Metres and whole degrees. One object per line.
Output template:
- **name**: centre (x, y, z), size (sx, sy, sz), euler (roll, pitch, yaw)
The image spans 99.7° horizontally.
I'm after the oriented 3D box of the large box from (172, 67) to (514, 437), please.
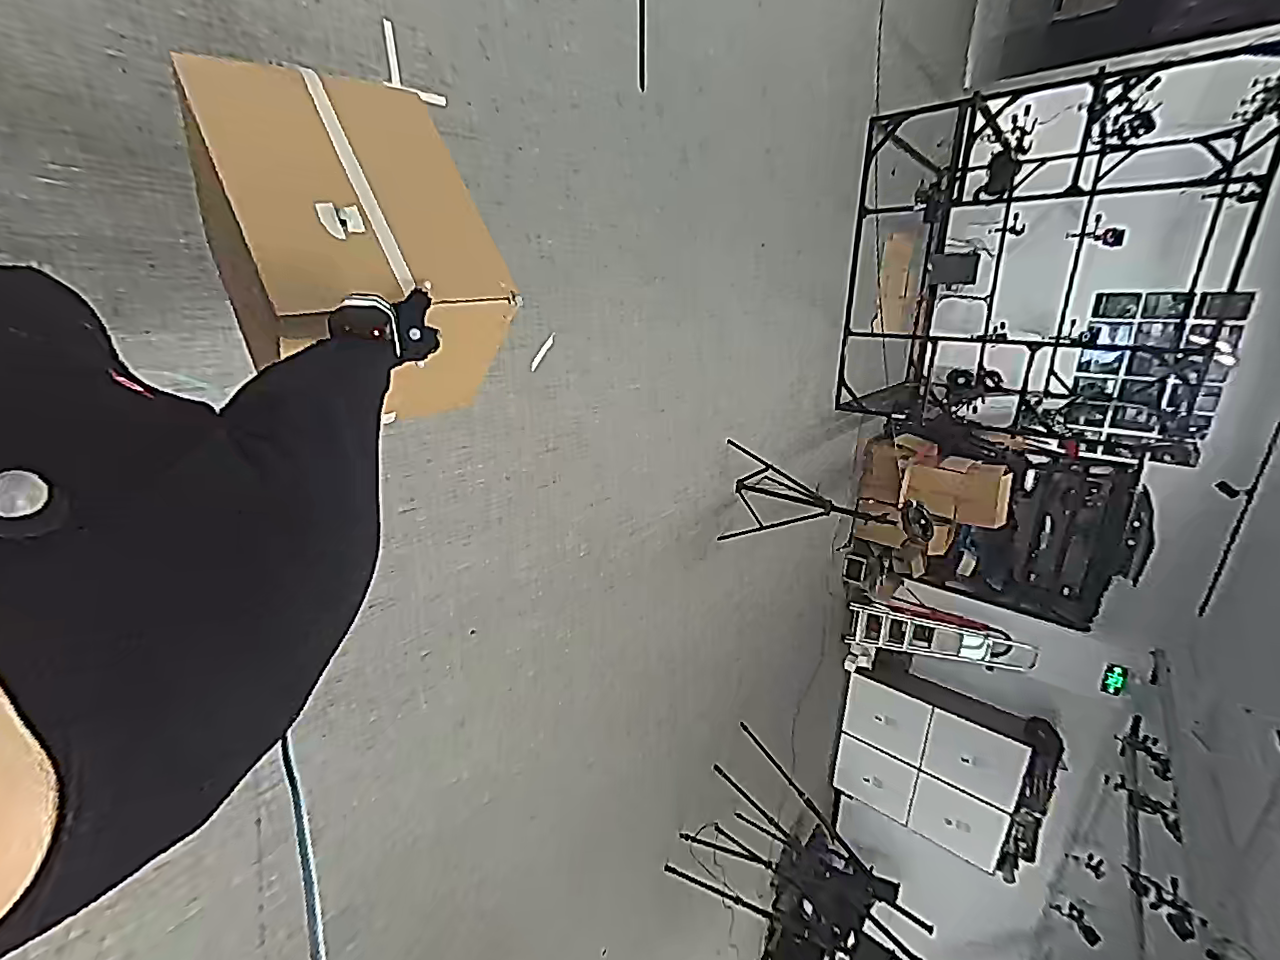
- **large box**: centre (-0.468, -0.337, 0.865), size (0.320, 0.320, 0.408), euler (-21, 80, -38)
